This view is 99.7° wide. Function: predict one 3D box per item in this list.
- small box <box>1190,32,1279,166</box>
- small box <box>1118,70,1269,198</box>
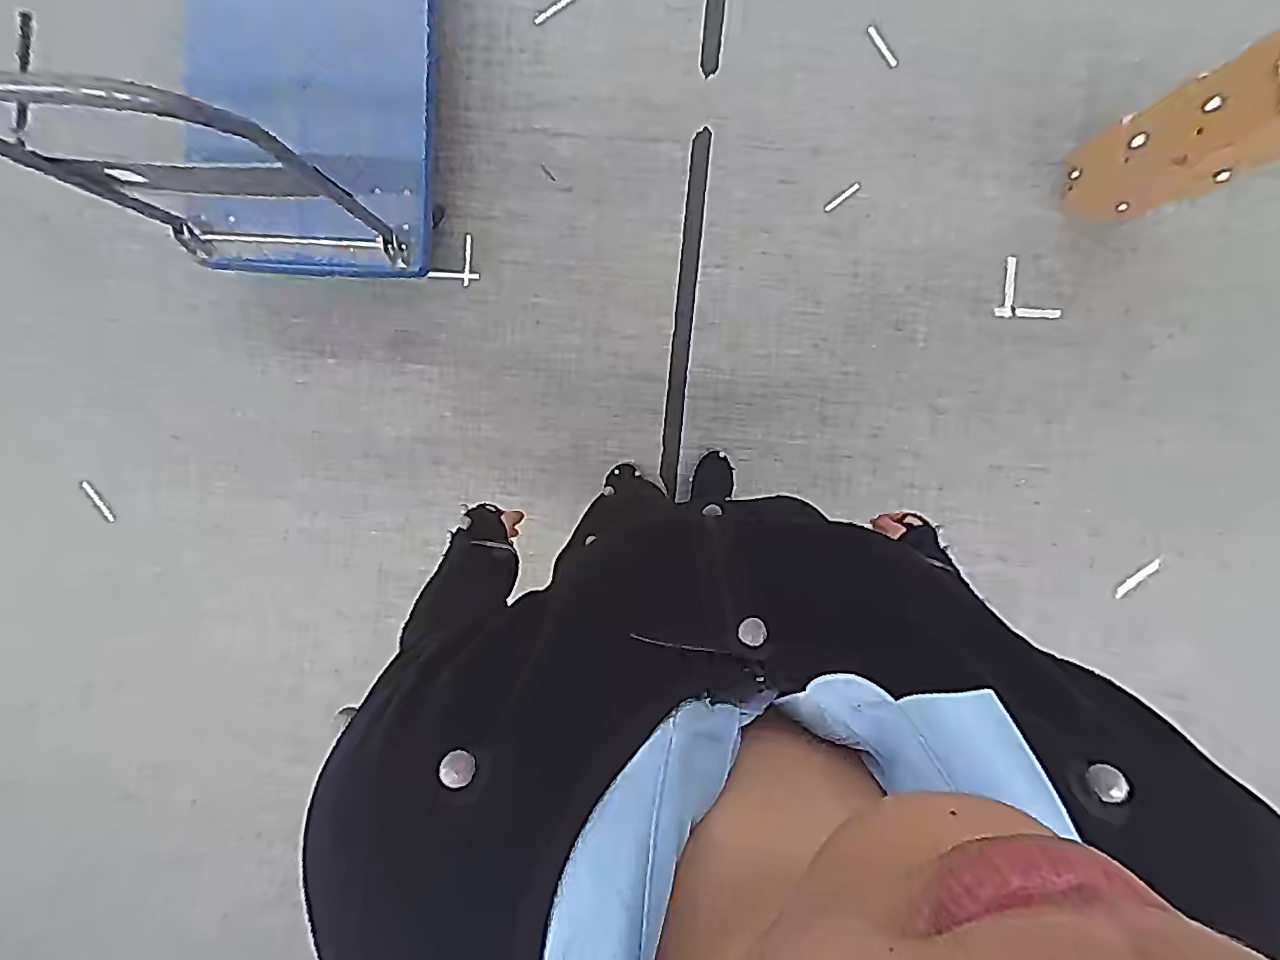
[{"bbox_3d":[1.207,-0.718,1.016,0.179,0.176,0.168,-3,93,2],"label":"small box"},{"bbox_3d":[1.212,-0.741,1.178,0.179,0.176,0.168,9,93,1],"label":"small box"}]
